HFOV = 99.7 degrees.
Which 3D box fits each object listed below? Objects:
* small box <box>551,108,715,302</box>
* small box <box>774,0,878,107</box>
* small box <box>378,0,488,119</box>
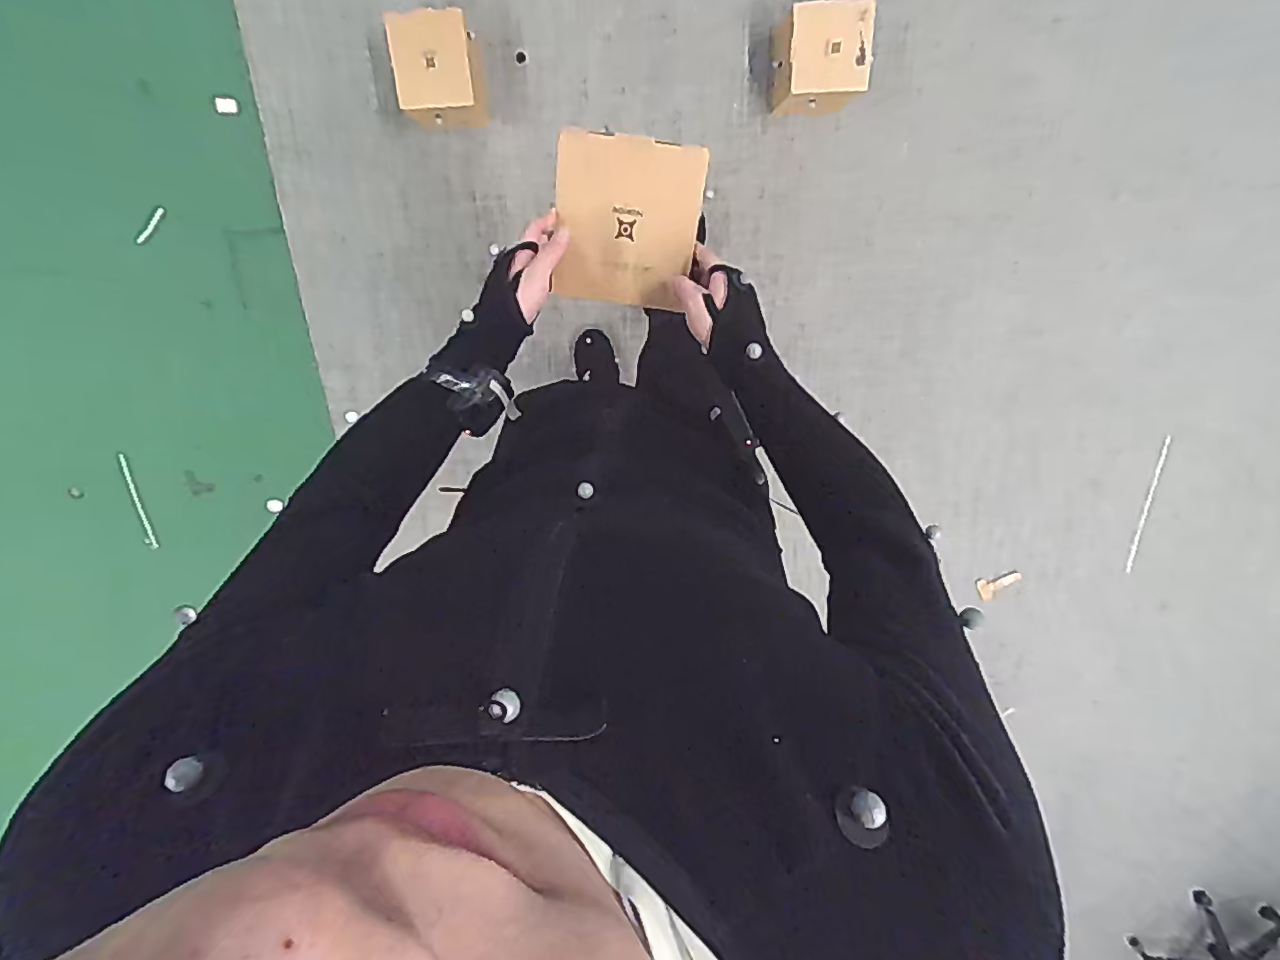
[{"bbox_3d":[-0.010,-0.335,0.668,0.168,0.176,0.179,8,119,0],"label":"small box"},{"bbox_3d":[0.404,-0.953,1.207,0.179,0.176,0.168,-3,111,0],"label":"small box"},{"bbox_3d":[-0.447,-0.920,1.197,0.168,0.176,0.179,-4,110,0],"label":"small box"}]
